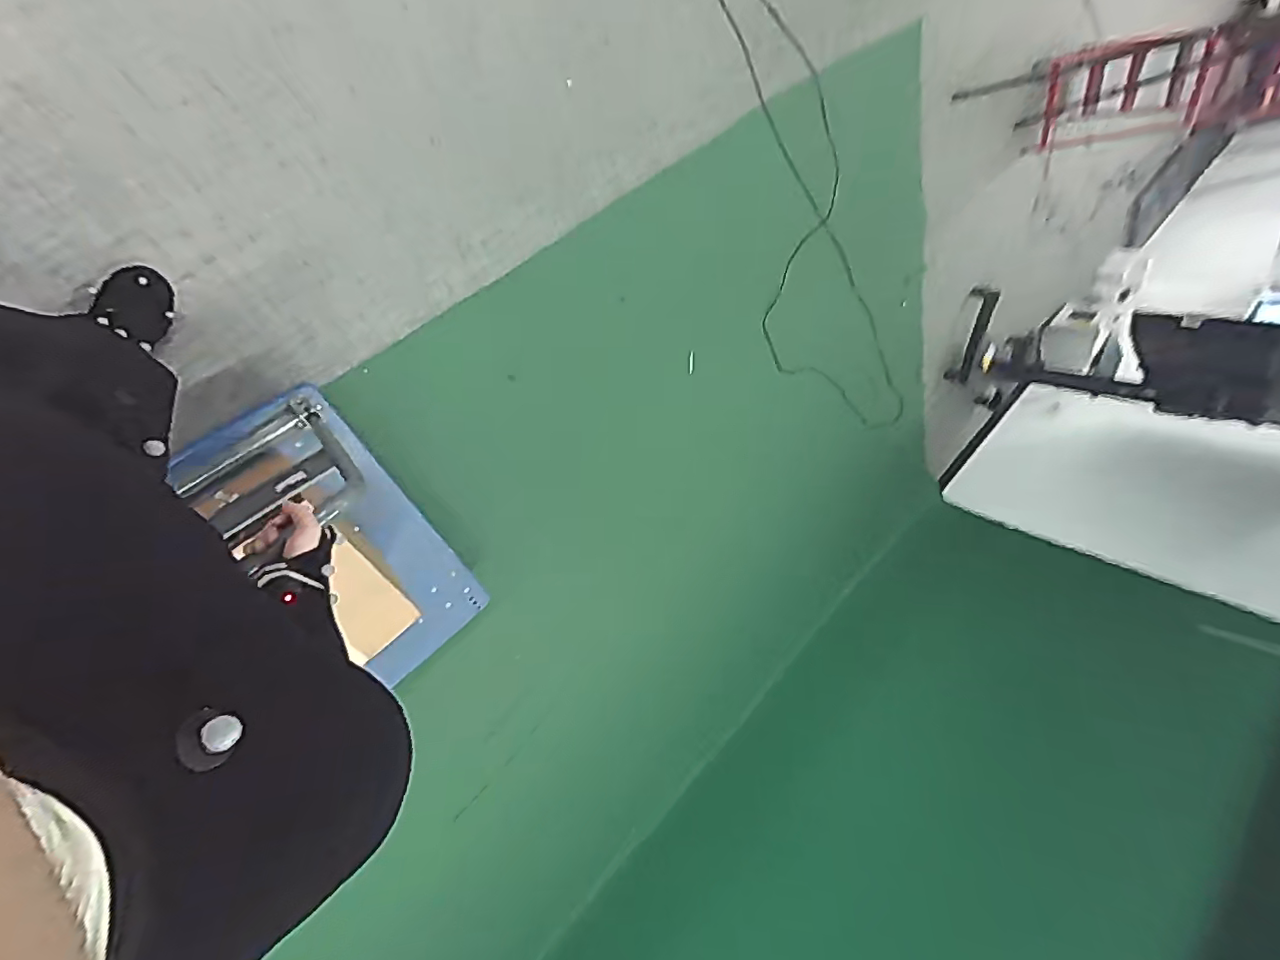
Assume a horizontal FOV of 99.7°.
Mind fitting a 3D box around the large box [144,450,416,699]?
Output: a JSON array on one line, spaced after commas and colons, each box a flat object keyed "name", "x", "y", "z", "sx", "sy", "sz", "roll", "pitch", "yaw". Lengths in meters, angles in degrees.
[{"name": "large box", "x": -0.803, "y": 0.205, "z": 1.229, "sx": 0.320, "sy": 0.320, "sz": 0.408, "roll": -40, "pitch": 132, "yaw": -19}]
